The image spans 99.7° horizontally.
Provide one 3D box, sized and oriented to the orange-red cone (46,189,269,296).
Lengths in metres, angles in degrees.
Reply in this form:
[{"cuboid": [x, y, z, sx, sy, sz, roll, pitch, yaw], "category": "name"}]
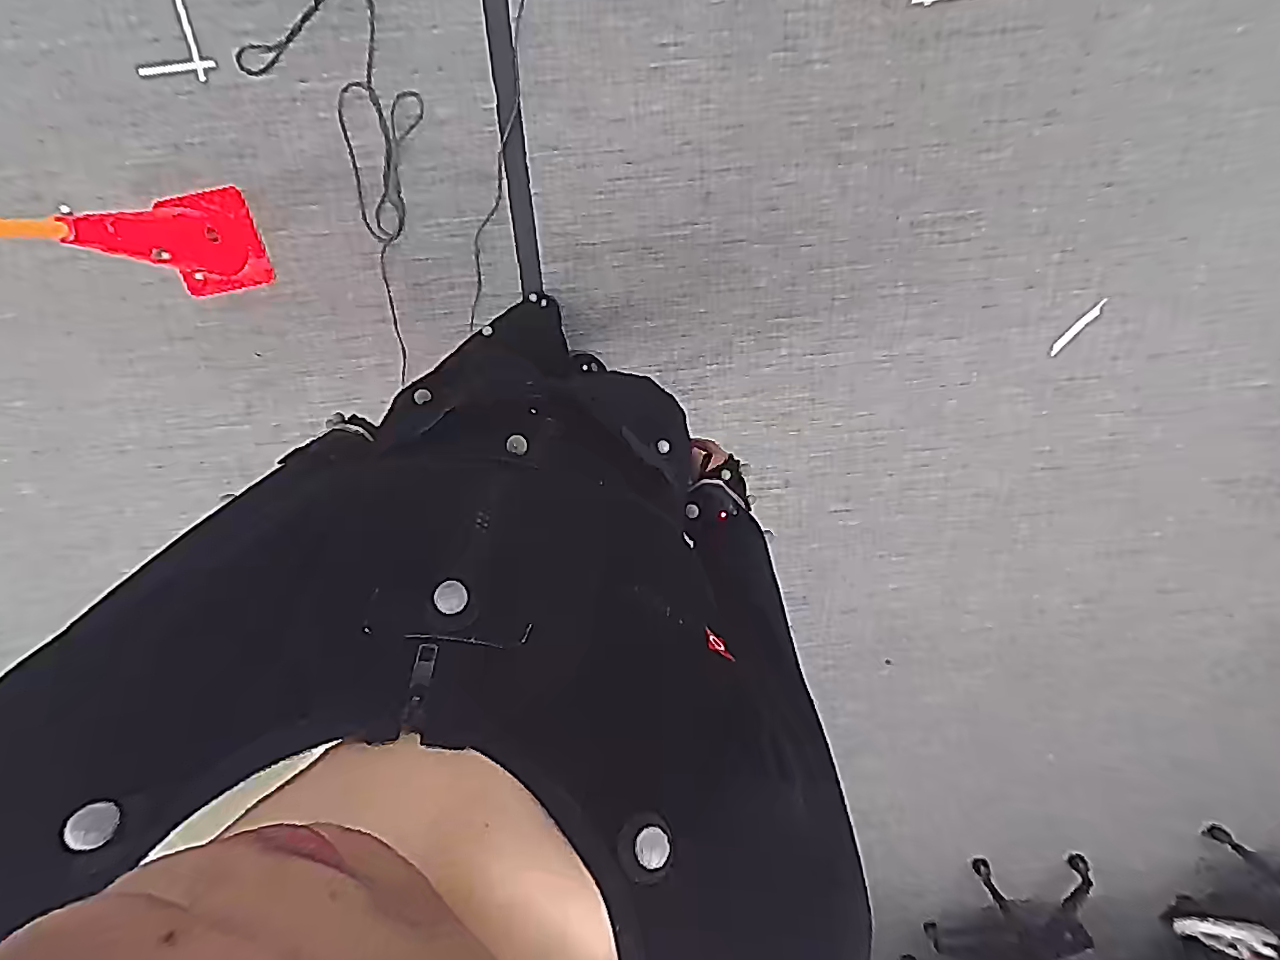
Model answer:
[{"cuboid": [-0.919, -0.452, 1.009, 0.199, 0.360, 0.198, -10, 111, 0], "category": "orange-red cone"}]
